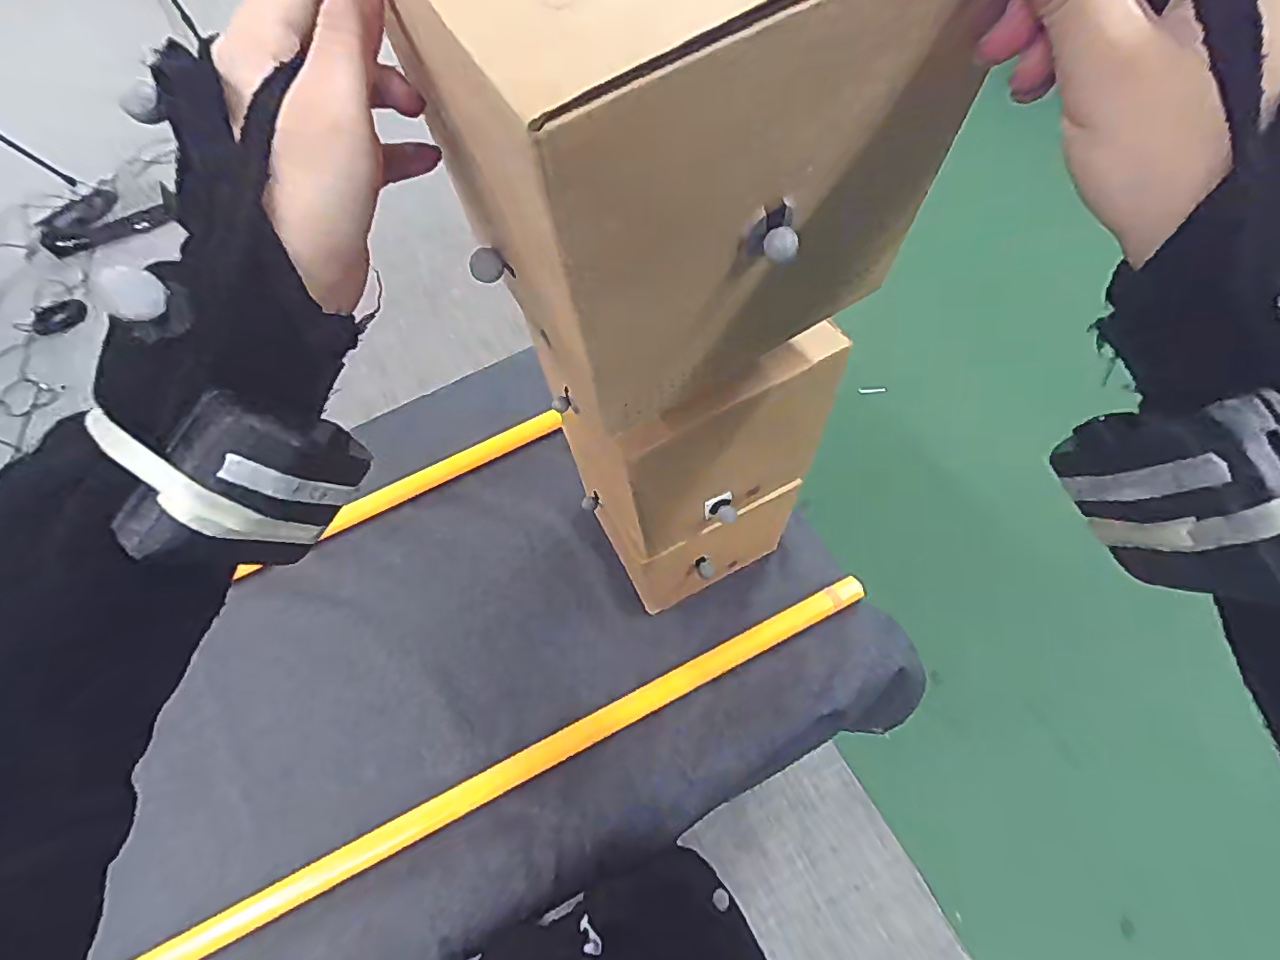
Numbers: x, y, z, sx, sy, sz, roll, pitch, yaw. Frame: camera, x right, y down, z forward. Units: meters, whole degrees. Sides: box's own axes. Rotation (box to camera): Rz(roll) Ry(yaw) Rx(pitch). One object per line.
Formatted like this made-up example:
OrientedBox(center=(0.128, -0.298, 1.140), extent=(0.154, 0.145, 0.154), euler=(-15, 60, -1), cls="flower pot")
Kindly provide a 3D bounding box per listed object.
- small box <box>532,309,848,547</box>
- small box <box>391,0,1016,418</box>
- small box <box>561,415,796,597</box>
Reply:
OrientedBox(center=(0.029, -0.076, 0.436), extent=(0.168, 0.176, 0.179), euler=(-28, 63, -9), cls="small box")
OrientedBox(center=(0.012, -0.160, 0.242), extent=(0.179, 0.176, 0.168), euler=(-30, 70, -7), cls="small box")
OrientedBox(center=(0.039, 0.007, 0.576), extent=(0.168, 0.176, 0.179), euler=(-26, 62, -9), cls="small box")
